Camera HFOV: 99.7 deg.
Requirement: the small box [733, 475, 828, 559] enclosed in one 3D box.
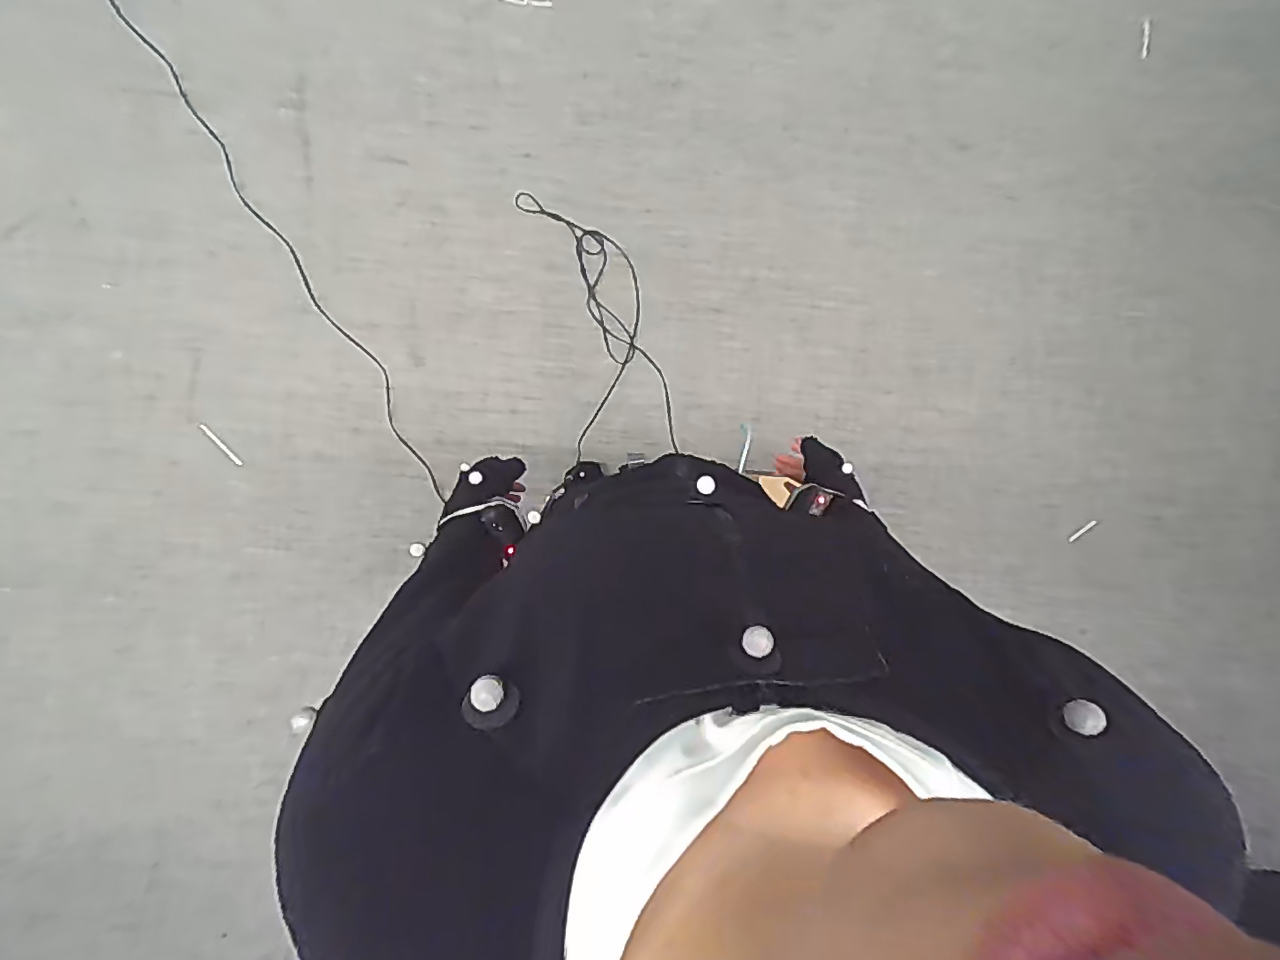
[{"bbox_3d":[0.323,0.082,1.273,0.168,0.176,0.179,4,92,-5],"label":"small box"}]
